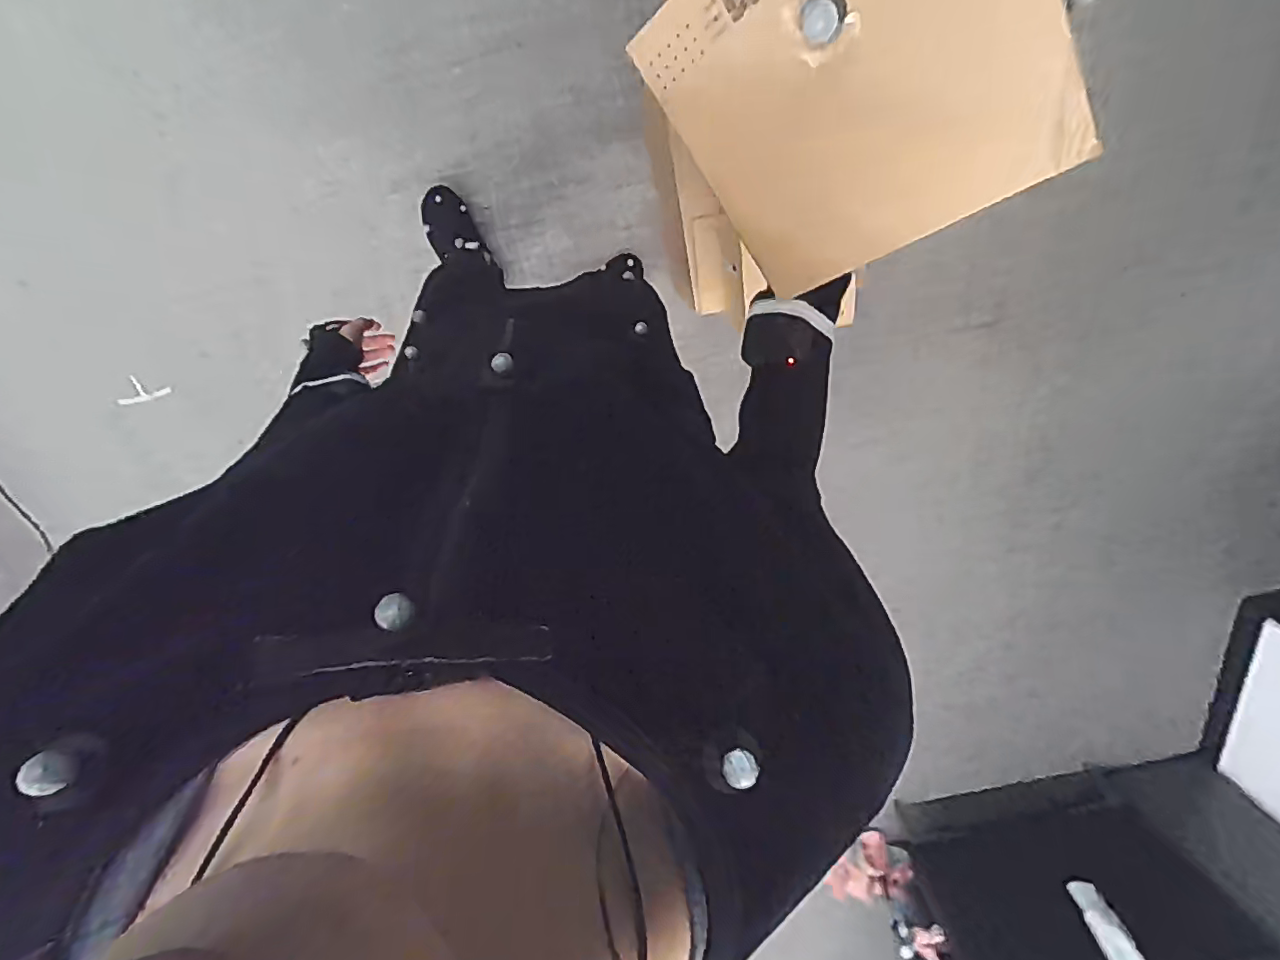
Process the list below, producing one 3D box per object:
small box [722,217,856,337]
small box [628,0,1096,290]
[{"bbox_3d":[0.226,-0.335,0.850,0.168,0.176,0.179,-8,115,3],"label":"small box"},{"bbox_3d":[0.125,-0.252,0.304,0.168,0.179,0.176,-15,127,45],"label":"small box"}]
